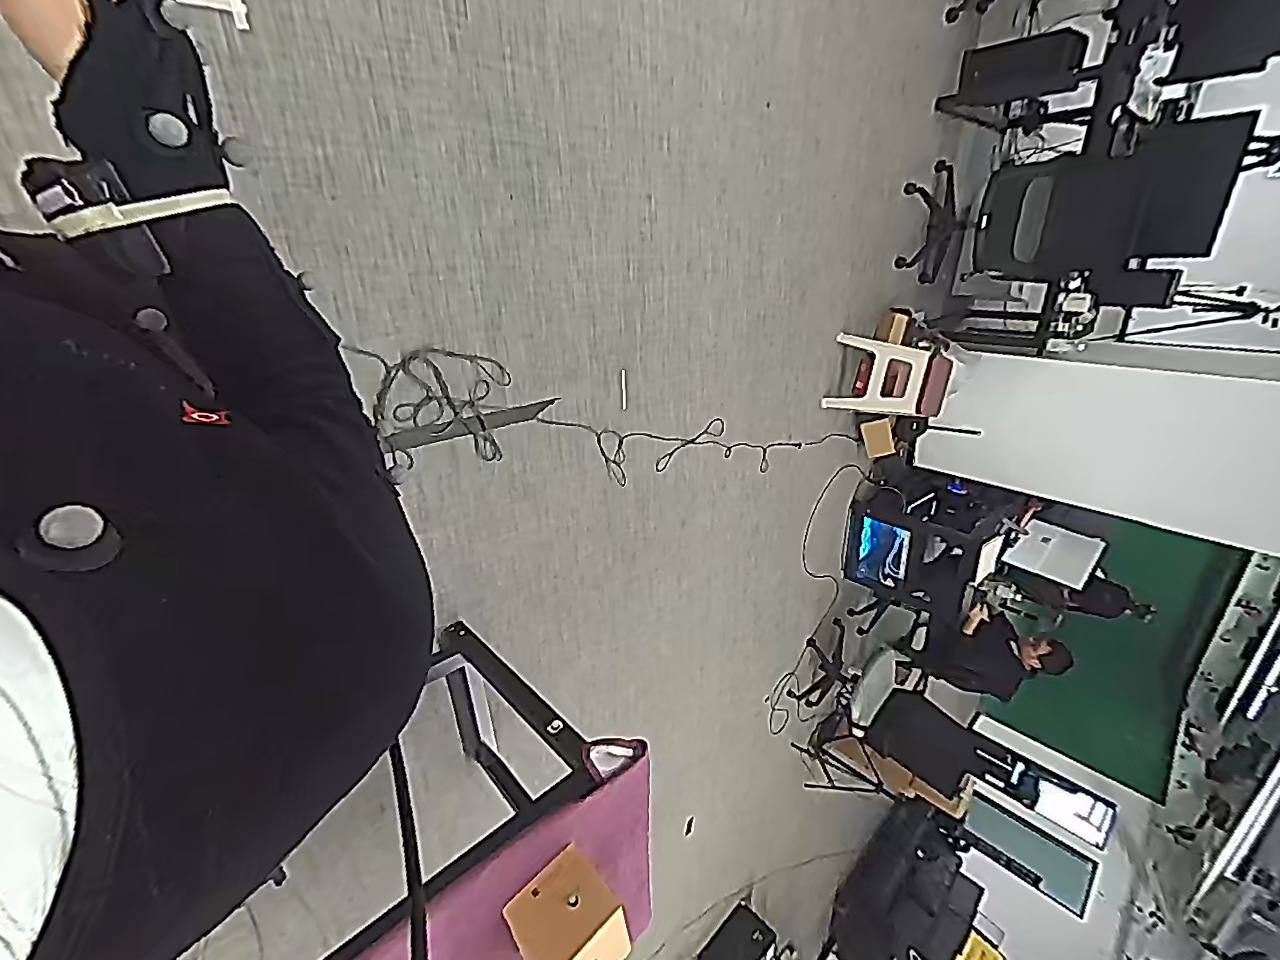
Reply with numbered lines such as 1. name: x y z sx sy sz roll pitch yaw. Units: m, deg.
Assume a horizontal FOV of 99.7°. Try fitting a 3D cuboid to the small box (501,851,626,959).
1. small box: -0.150 0.876 1.055 0.168 0.176 0.179 -28 124 -35
